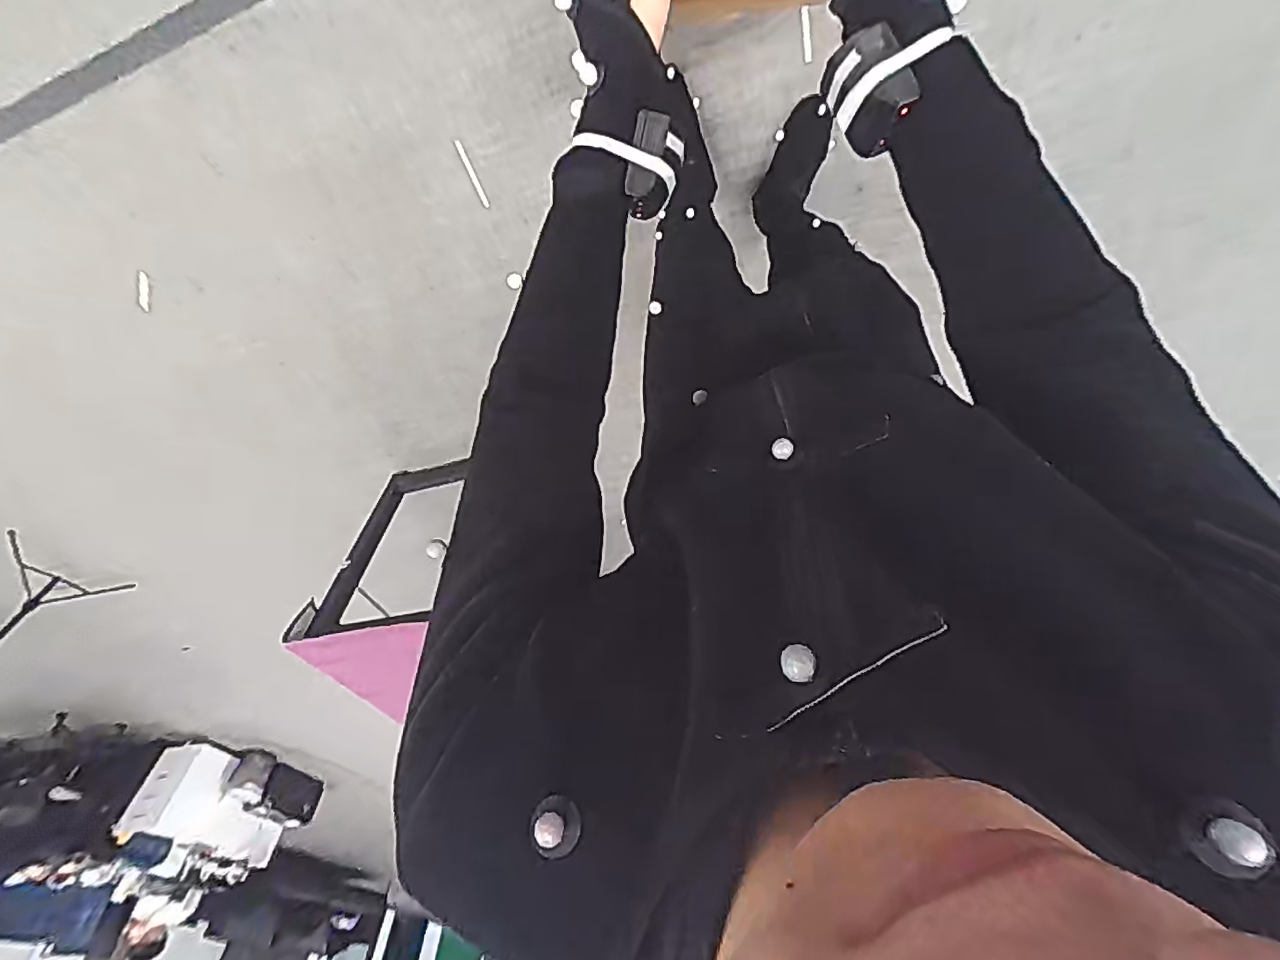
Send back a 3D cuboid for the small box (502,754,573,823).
[{"bbox_3d":[-0.359,1.105,1.934,0.179,0.176,0.168,-20,129,20],"label":"small box"}]
